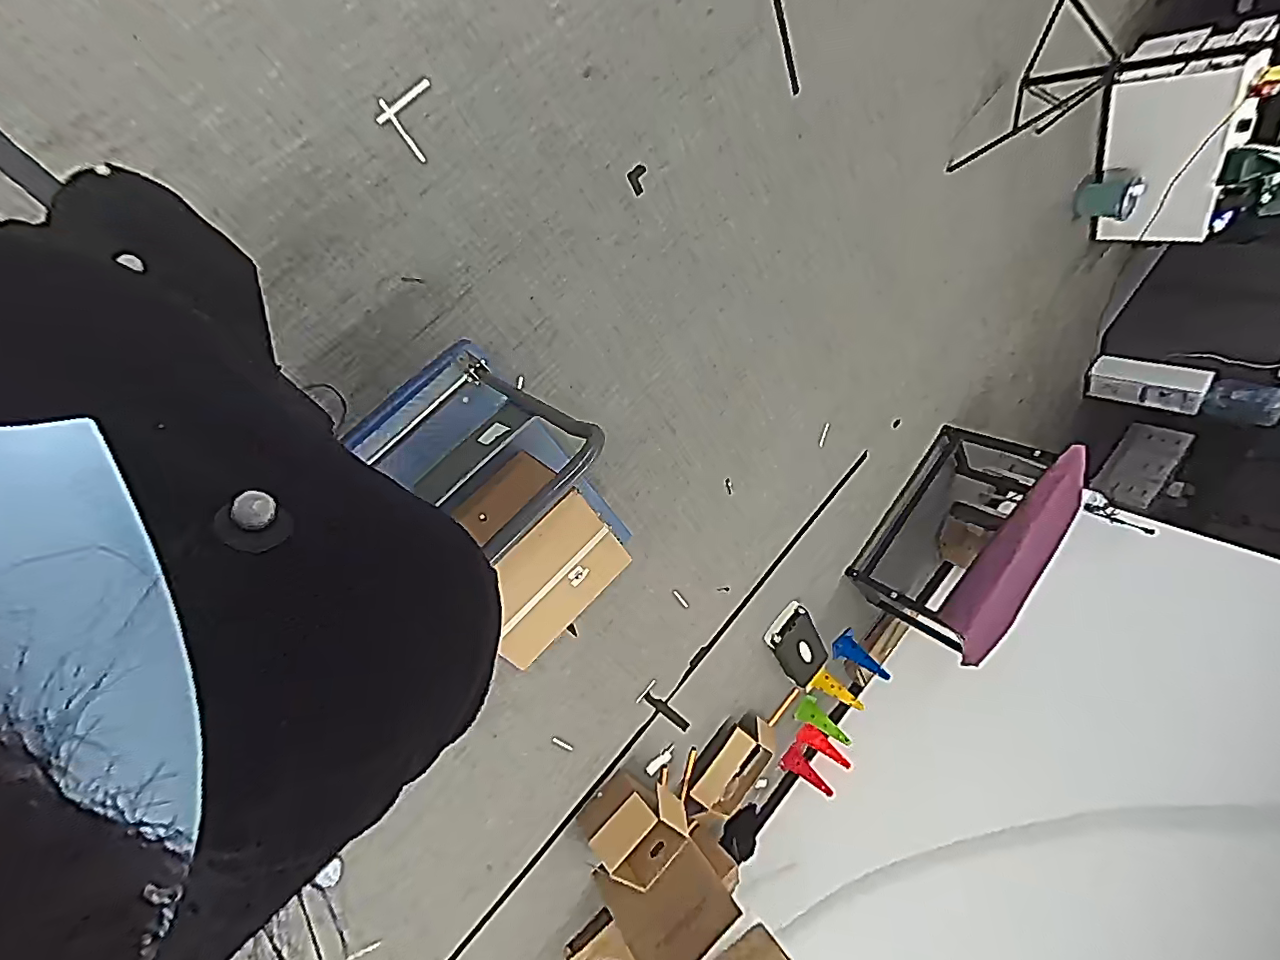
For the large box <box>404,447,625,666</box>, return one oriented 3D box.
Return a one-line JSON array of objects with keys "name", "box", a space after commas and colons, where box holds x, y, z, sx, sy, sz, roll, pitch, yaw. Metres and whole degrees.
[{"name": "large box", "box": [-0.325, 0.186, 1.412, 0.408, 0.320, 0.320, -45, 132, -14]}]
